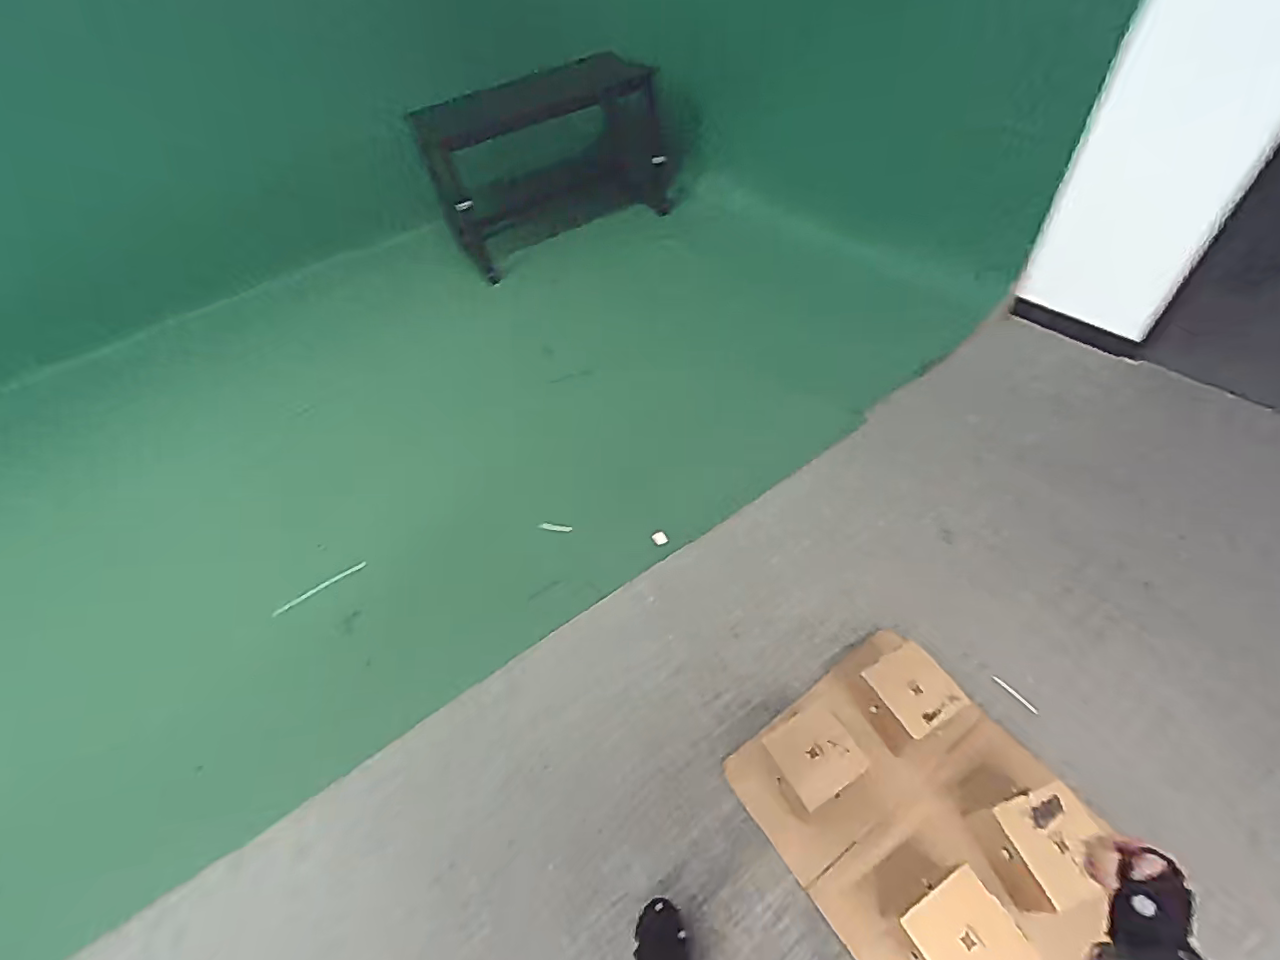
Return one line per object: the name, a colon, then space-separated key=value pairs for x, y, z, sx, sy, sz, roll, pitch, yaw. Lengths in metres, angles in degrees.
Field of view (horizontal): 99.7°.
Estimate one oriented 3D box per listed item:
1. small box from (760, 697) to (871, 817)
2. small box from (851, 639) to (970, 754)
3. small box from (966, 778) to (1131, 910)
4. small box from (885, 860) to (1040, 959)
small box: x=0.393 y=0.640 z=1.241 sx=0.179 sy=0.176 sz=0.168 roll=-26 pitch=52 yaw=-13
small box: x=0.637 y=0.522 z=1.300 sx=0.168 sy=0.176 sz=0.179 roll=-25 pitch=51 yaw=-12
small box: x=0.804 y=0.737 z=1.092 sx=0.168 sy=0.176 sz=0.179 roll=-18 pitch=52 yaw=-6
small box: x=0.592 y=0.864 z=1.022 sx=0.179 sy=0.176 sz=0.168 roll=-27 pitch=52 yaw=-14
